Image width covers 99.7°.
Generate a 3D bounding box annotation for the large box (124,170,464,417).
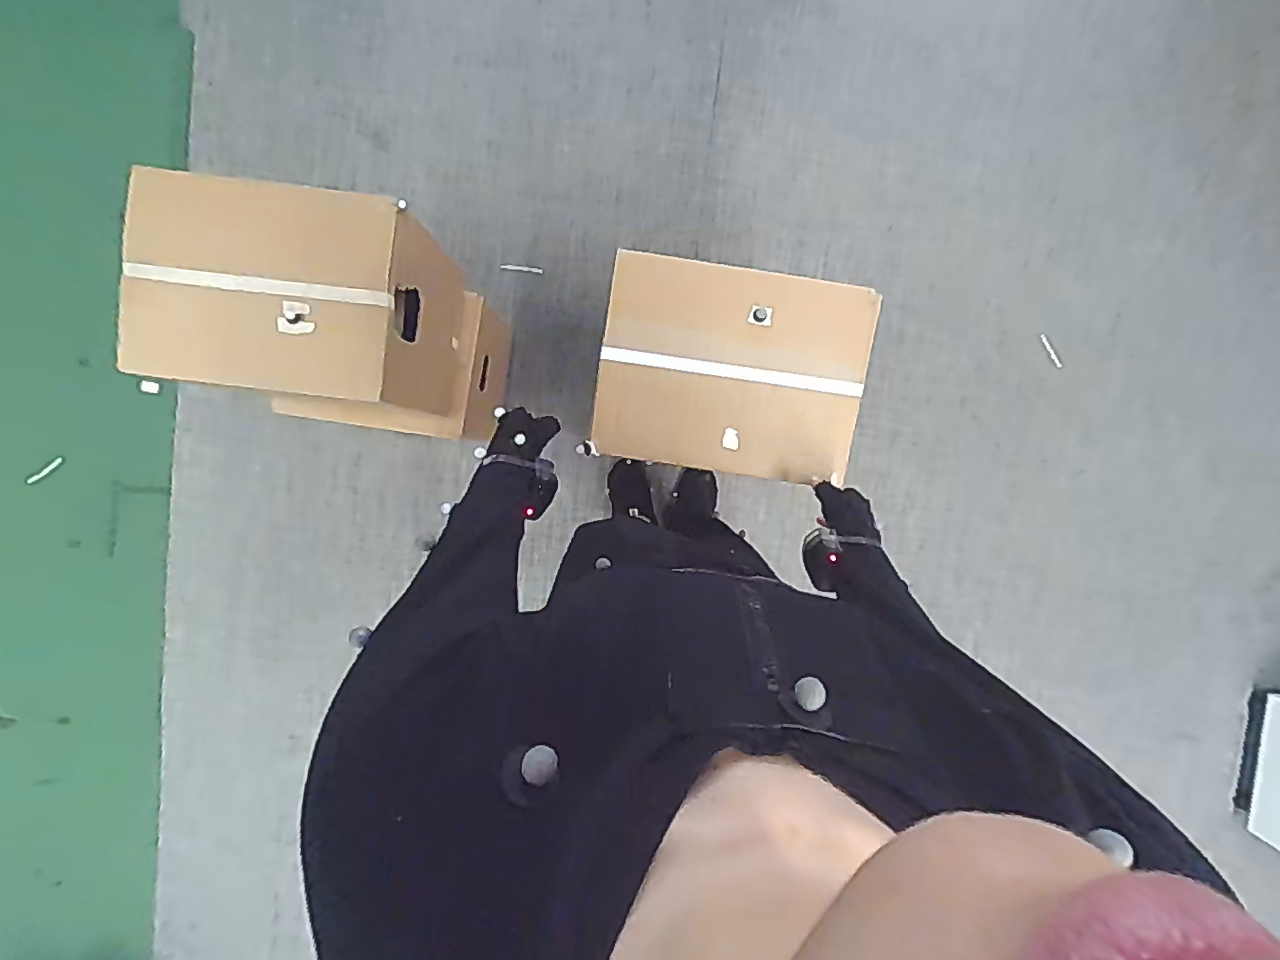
[{"bbox_3d":[-0.574,-0.300,0.970,0.408,0.320,0.320,7,91,-2],"label":"large box"}]
